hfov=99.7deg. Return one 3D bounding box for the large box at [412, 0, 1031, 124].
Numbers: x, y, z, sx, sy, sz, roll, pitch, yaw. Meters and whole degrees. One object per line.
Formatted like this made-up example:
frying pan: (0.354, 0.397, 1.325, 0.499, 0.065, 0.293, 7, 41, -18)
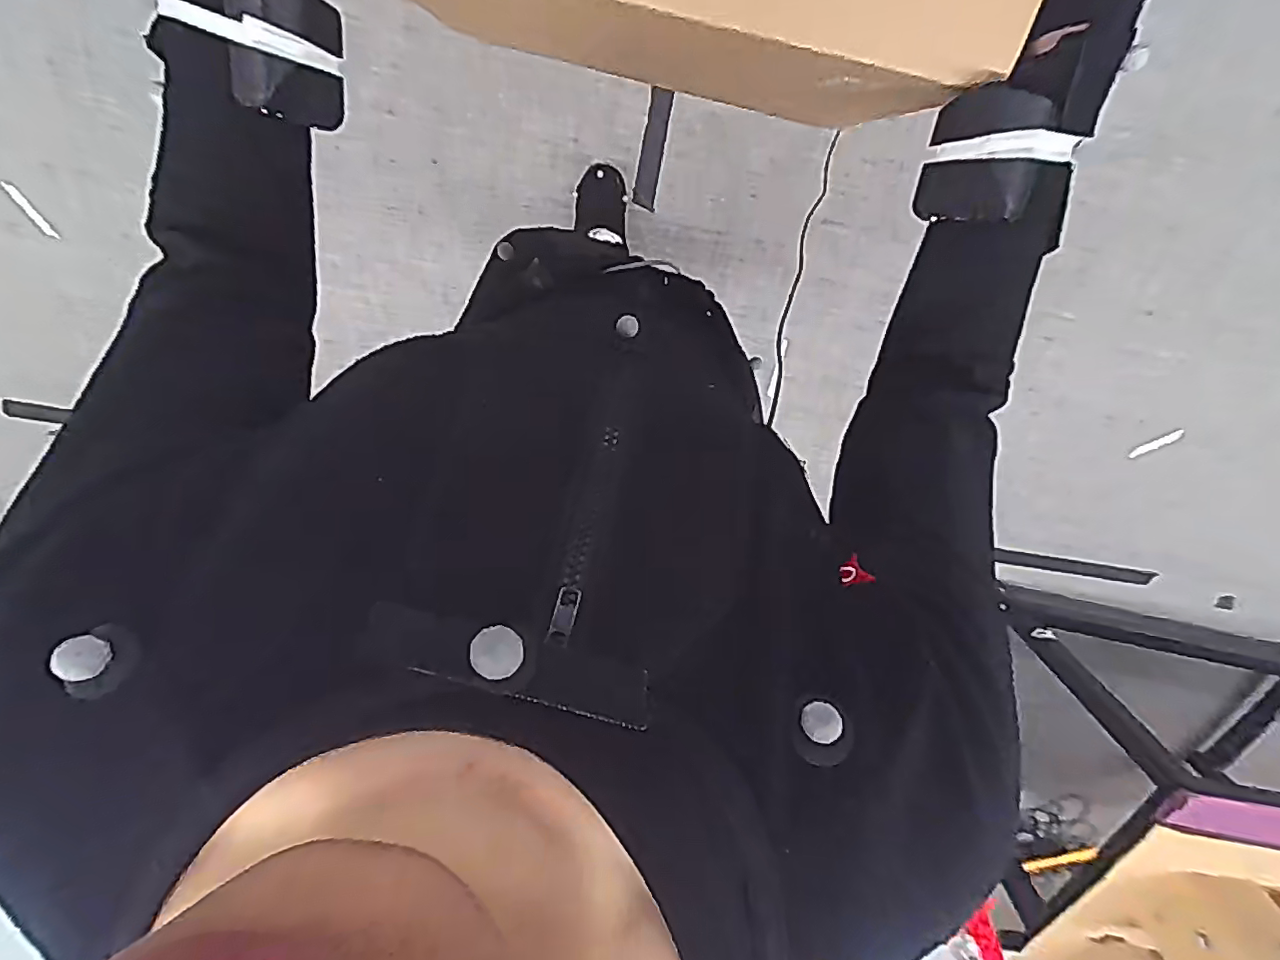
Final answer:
large box: (0.042, -0.464, 0.357, 0.408, 0.320, 0.320, 10, 121, -5)
